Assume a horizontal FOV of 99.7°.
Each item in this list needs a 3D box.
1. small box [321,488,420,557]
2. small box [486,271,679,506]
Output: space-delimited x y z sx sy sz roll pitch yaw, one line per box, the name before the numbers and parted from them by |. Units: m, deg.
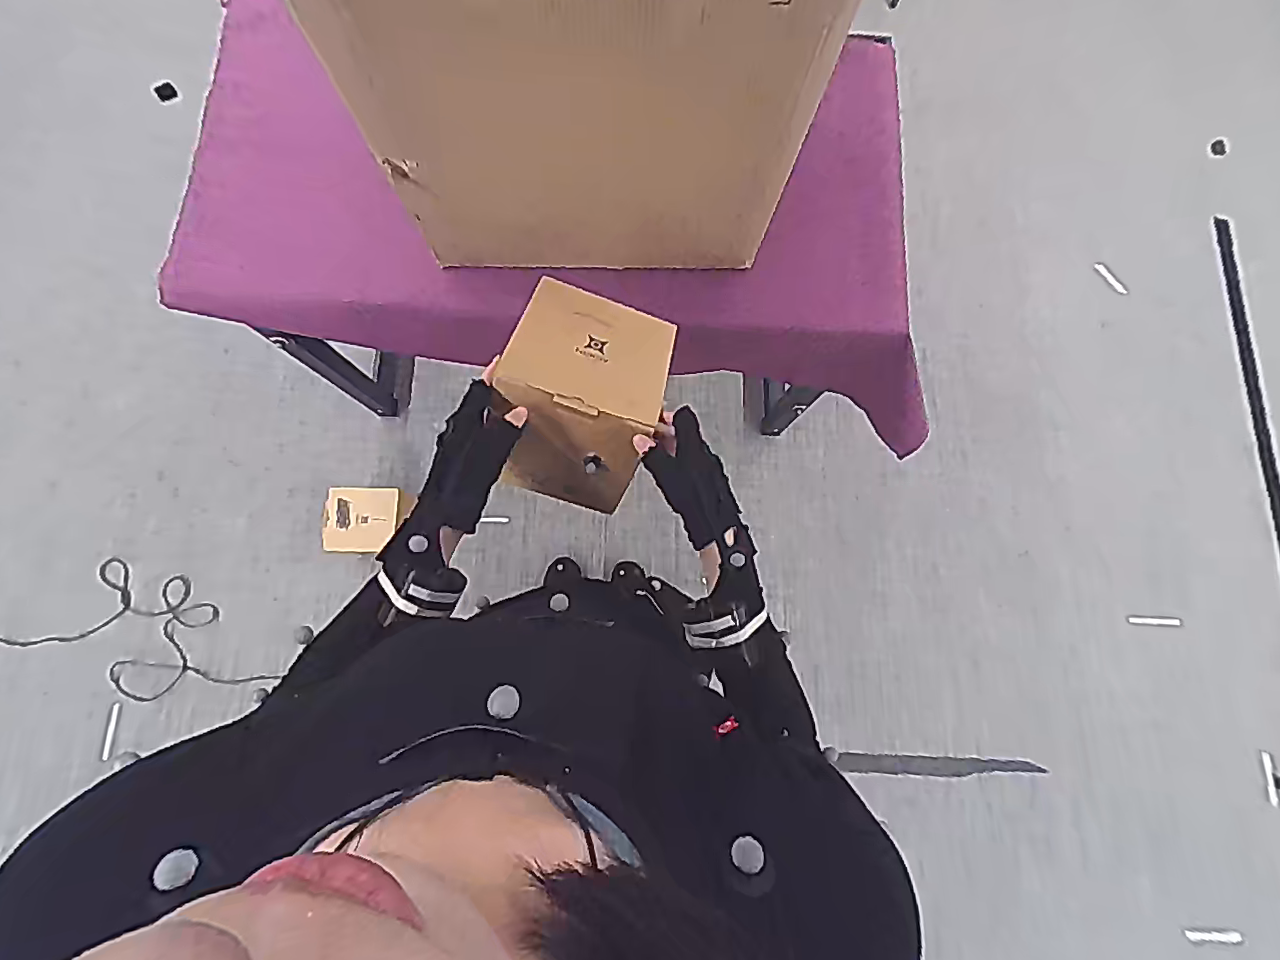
small box | -0.709 0.117 1.439 0.179 0.176 0.168 1 79 -3
small box | -0.069 -0.096 0.618 0.168 0.176 0.179 19 50 -9
